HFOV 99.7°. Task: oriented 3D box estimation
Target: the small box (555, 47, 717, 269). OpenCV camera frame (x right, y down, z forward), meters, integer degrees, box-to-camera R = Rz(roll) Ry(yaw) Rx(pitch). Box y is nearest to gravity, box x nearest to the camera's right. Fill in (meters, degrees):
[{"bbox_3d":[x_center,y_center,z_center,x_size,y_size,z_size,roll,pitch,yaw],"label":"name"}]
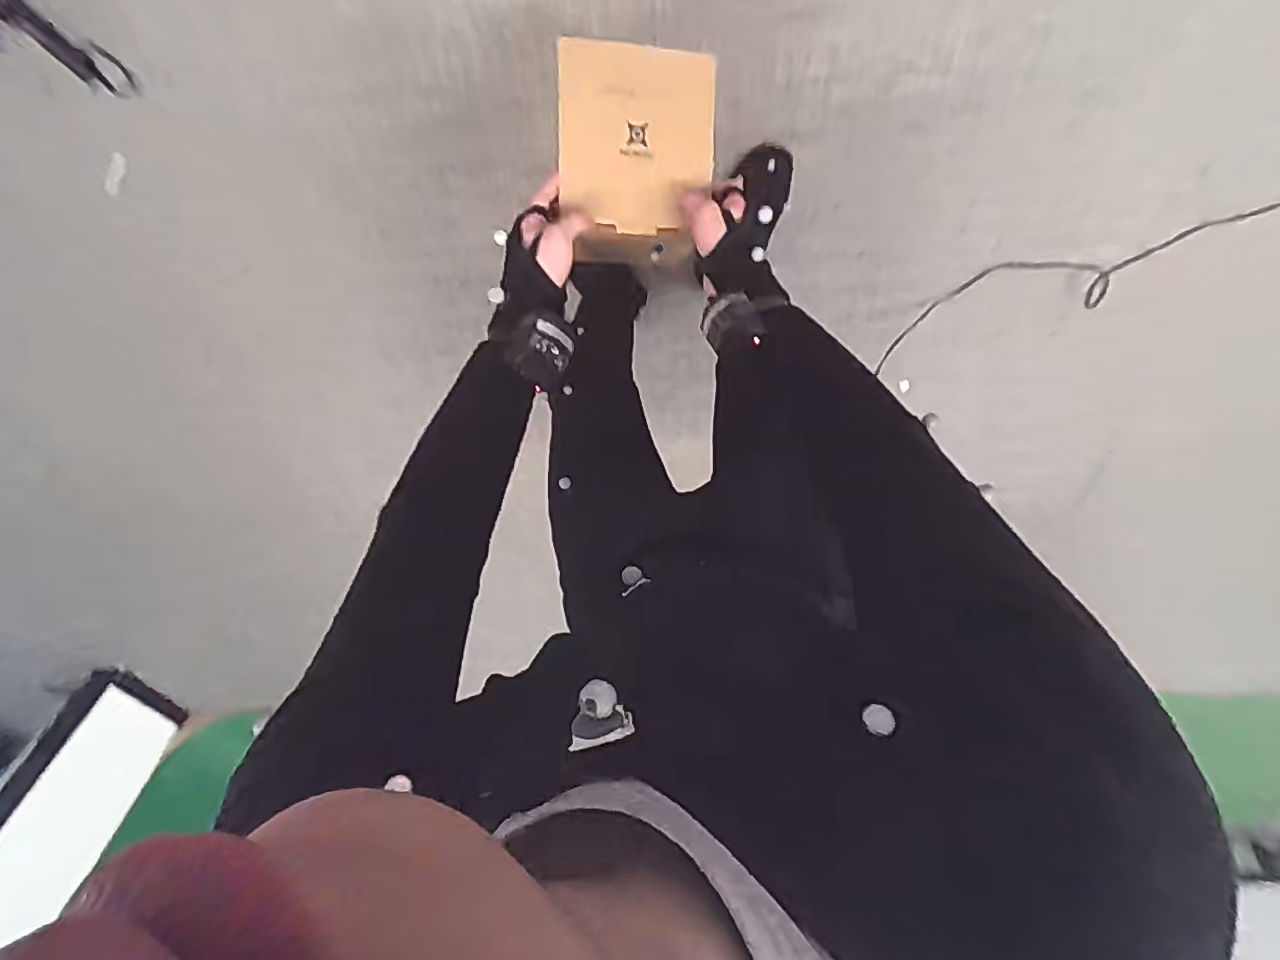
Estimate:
[{"bbox_3d":[-0.015,-0.356,0.636,0.168,0.176,0.179,-1,99,-9],"label":"small box"}]
